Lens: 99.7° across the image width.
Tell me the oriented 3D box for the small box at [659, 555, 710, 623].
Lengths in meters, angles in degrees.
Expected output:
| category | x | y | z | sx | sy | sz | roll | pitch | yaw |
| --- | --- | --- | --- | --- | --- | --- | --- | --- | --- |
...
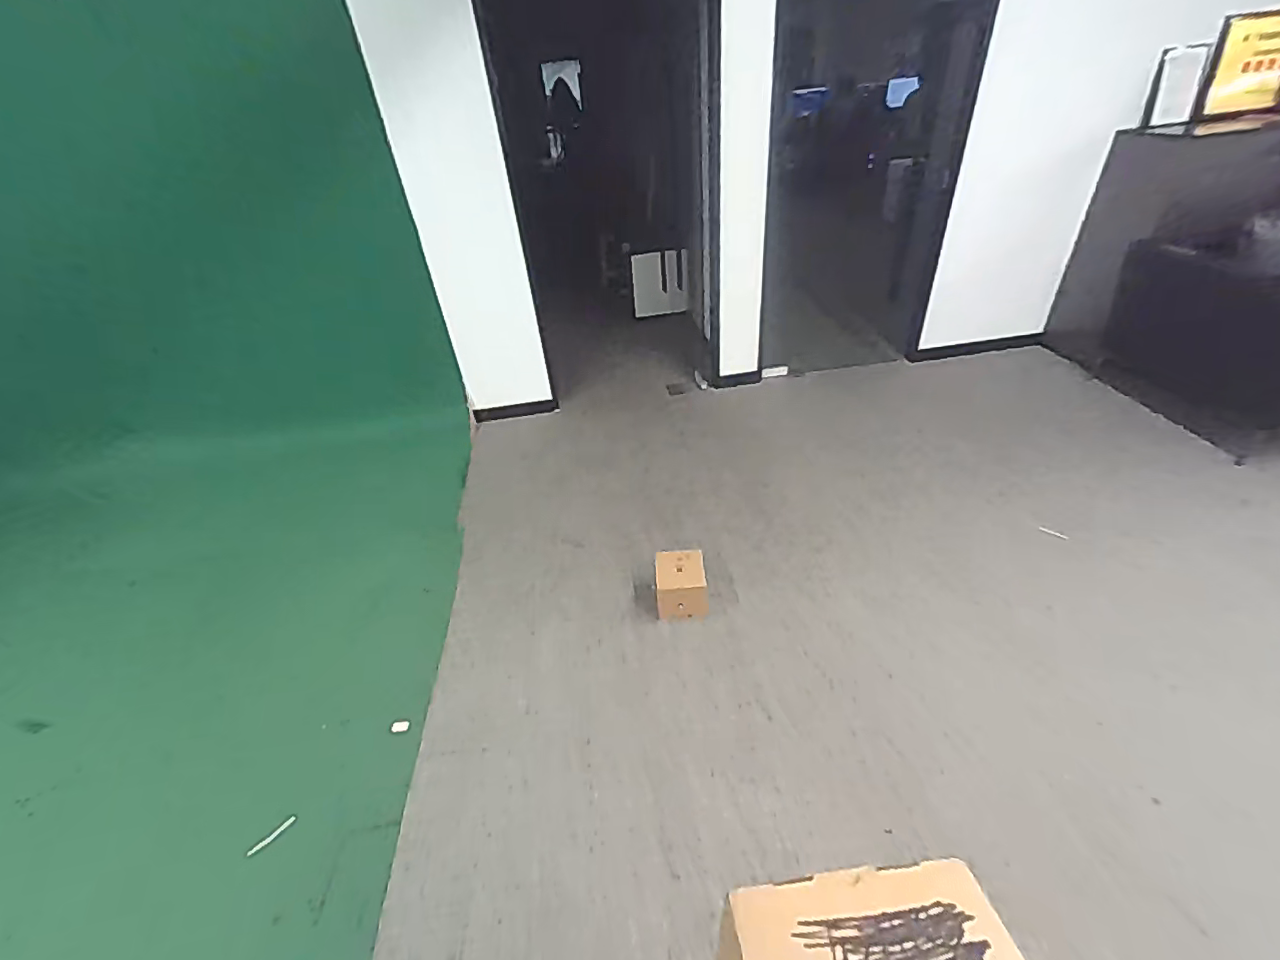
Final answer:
| category | x | y | z | sx | sy | sz | roll | pitch | yaw |
| --- | --- | --- | --- | --- | --- | --- | --- | --- | --- |
| small box | 0.155 | 0.384 | 1.882 | 0.168 | 0.176 | 0.179 | -4 | 37 | 3 |
